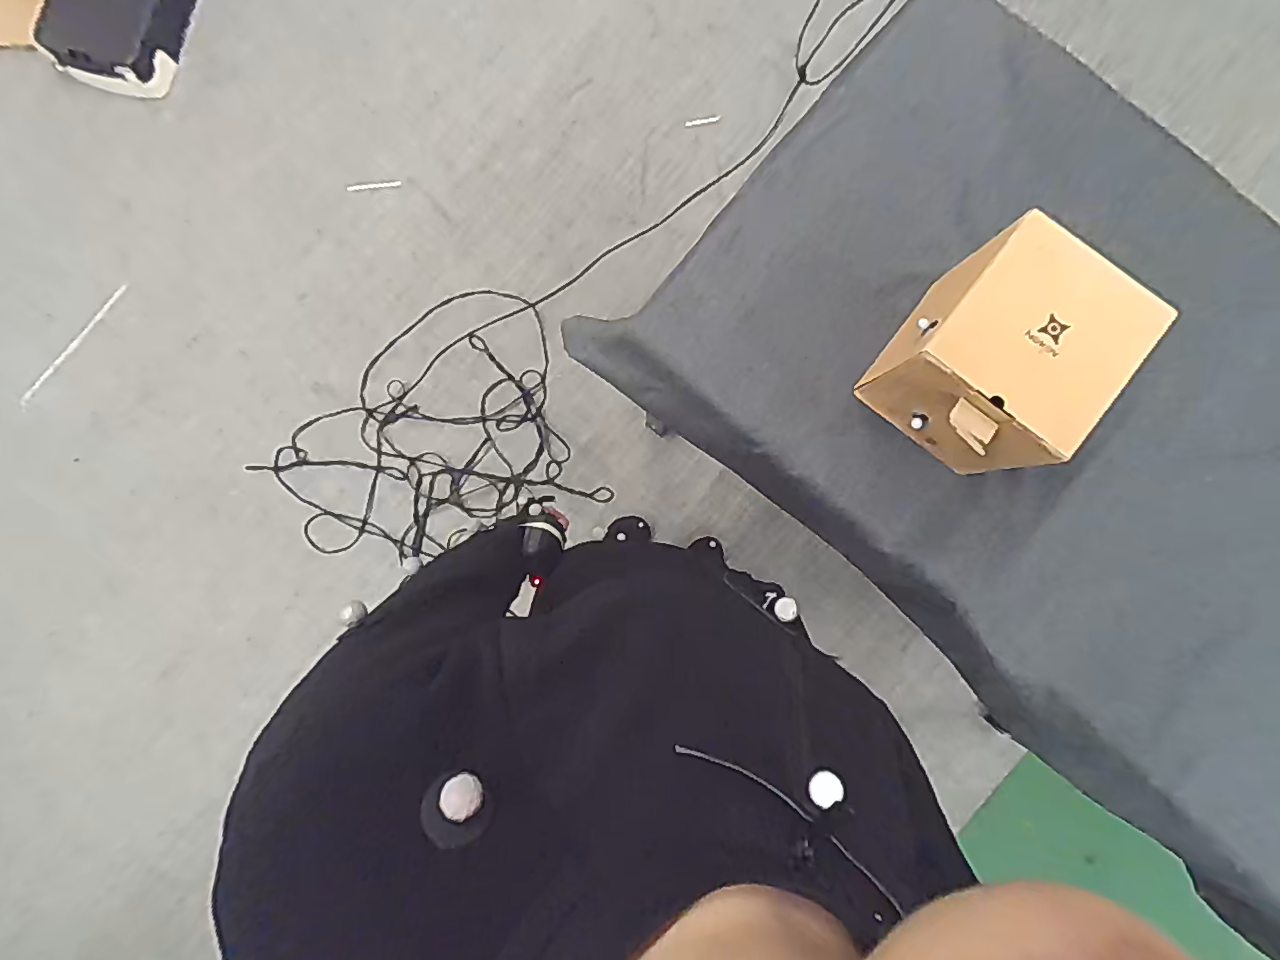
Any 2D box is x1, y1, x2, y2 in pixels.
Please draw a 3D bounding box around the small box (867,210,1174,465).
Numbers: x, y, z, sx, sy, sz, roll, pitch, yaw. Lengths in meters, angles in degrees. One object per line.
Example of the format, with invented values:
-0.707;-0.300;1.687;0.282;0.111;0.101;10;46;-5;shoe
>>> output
0.380;-0.134;0.578;0.168;0.176;0.179;37;88;1;small box
